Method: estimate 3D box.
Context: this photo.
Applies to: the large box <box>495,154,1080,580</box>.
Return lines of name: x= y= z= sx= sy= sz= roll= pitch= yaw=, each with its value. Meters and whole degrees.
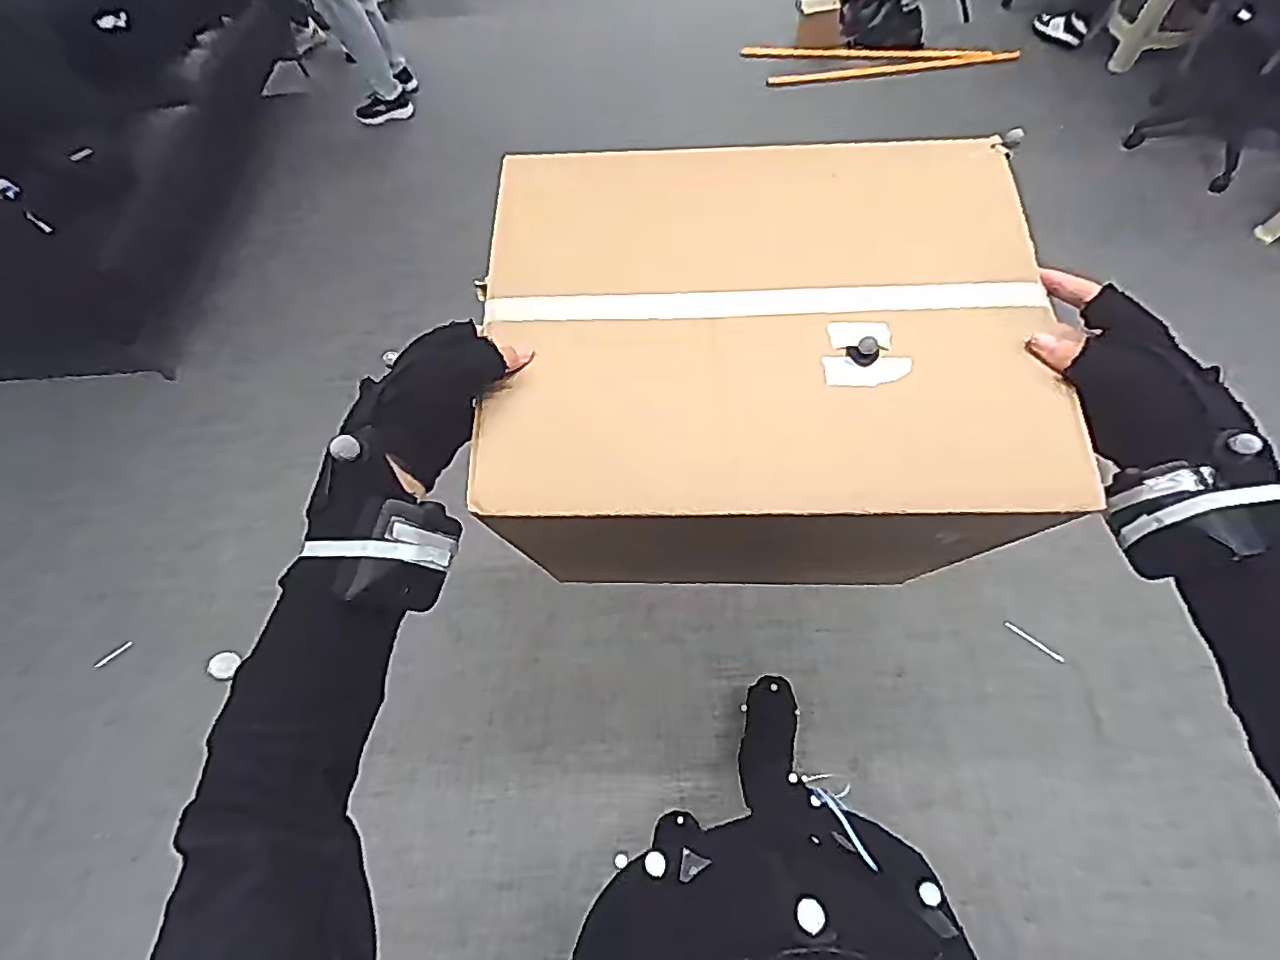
large box: x=0.098 y=-0.079 z=0.552 sx=0.408 sy=0.320 sz=0.320 roll=-1 pitch=71 yaw=2
